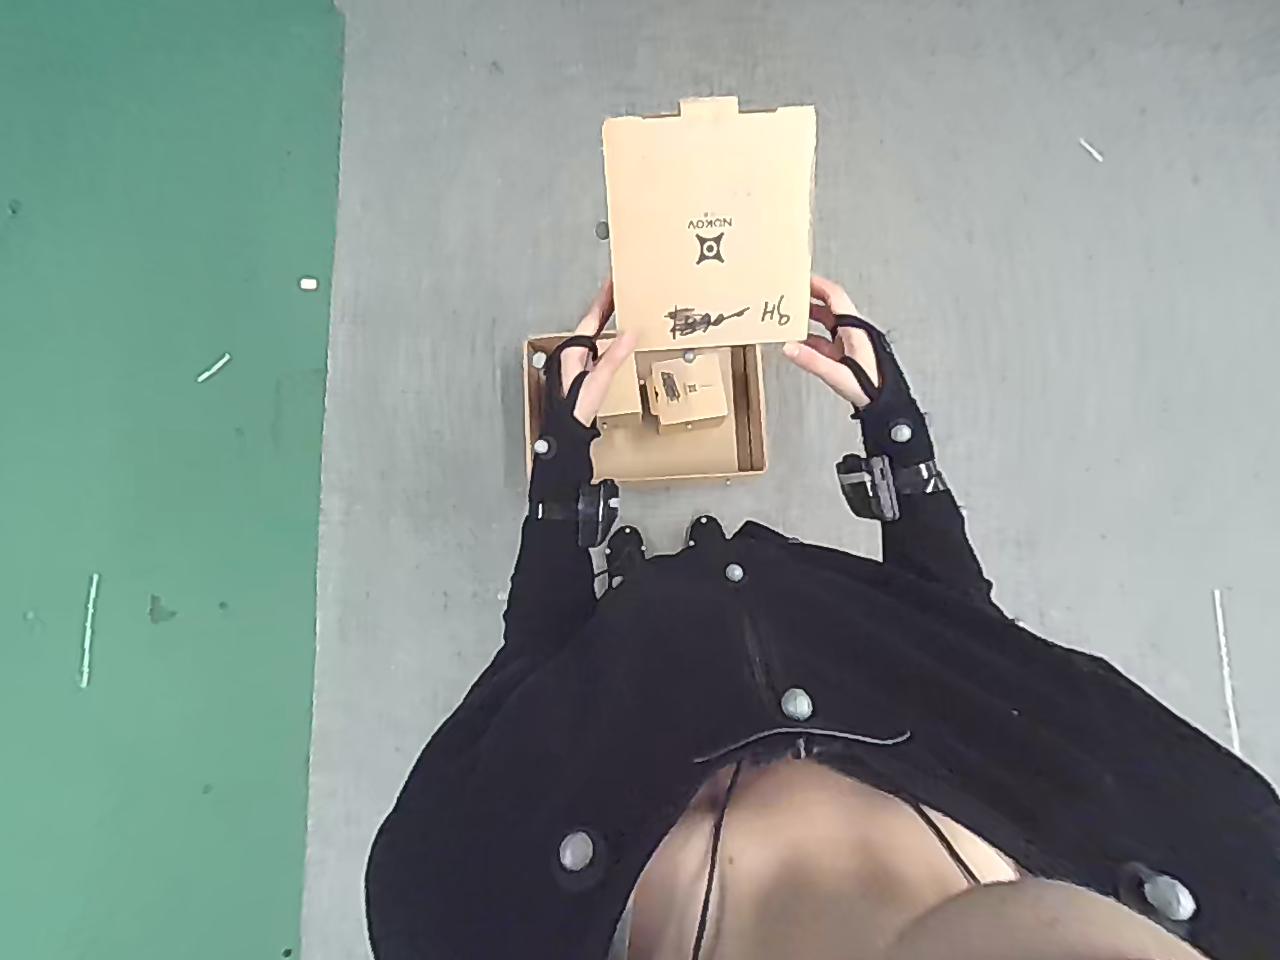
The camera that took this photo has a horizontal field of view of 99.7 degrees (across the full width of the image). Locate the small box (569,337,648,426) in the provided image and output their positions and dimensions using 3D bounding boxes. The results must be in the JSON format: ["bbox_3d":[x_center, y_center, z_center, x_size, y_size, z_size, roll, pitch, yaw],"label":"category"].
[{"bbox_3d":[-0.070,-0.227,1.284,0.168,0.176,0.179,-7,86,-1],"label":"small box"}]

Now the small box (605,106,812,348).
[{"bbox_3d":[0.055,-0.224,0.517,0.168,0.176,0.179,-4,108,1],"label":"small box"}]

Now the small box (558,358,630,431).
[{"bbox_3d":[-0.116,-0.229,1.449,0.179,0.176,0.168,-5,86,0],"label":"small box"}]

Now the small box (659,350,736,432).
[{"bbox_3d":[0.148,-0.230,1.439,0.179,0.176,0.168,-9,85,2],"label":"small box"}]
